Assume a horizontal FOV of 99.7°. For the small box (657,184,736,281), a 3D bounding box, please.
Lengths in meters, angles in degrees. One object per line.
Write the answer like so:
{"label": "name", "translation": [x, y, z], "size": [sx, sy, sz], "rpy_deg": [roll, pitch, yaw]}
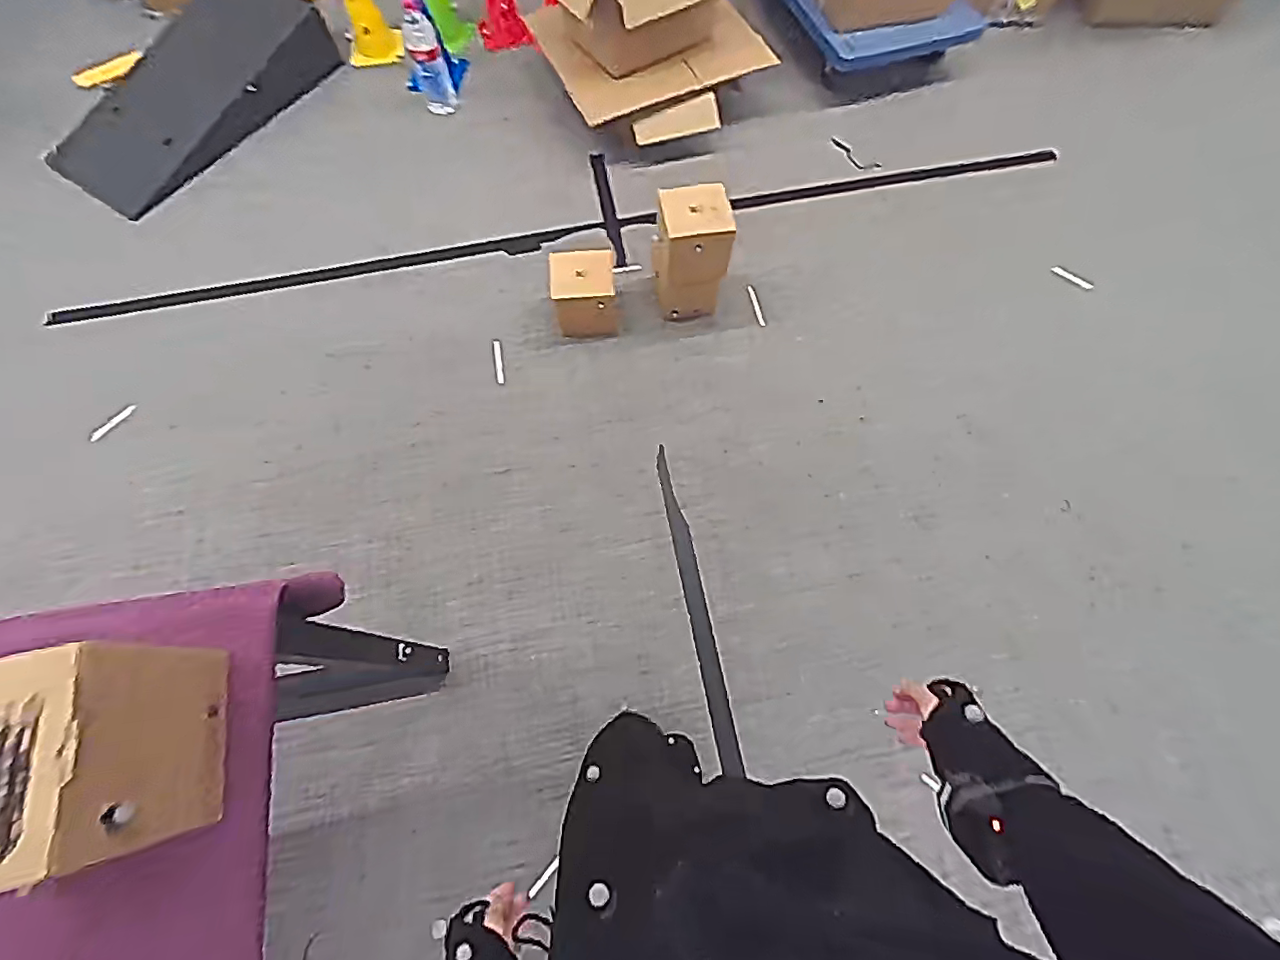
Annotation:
{"label": "small box", "translation": [0.142, -0.653, 1.442], "size": [0.179, 0.176, 0.168], "rpy_deg": [-9, 69, -5]}

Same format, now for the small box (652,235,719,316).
{"label": "small box", "translation": [0.132, -0.607, 1.601], "size": [0.168, 0.176, 0.179], "rpy_deg": [-11, 68, -5]}

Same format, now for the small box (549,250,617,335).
{"label": "small box", "translation": [-0.163, -0.540, 1.573], "size": [0.179, 0.176, 0.168], "rpy_deg": [-5, 68, -3]}
